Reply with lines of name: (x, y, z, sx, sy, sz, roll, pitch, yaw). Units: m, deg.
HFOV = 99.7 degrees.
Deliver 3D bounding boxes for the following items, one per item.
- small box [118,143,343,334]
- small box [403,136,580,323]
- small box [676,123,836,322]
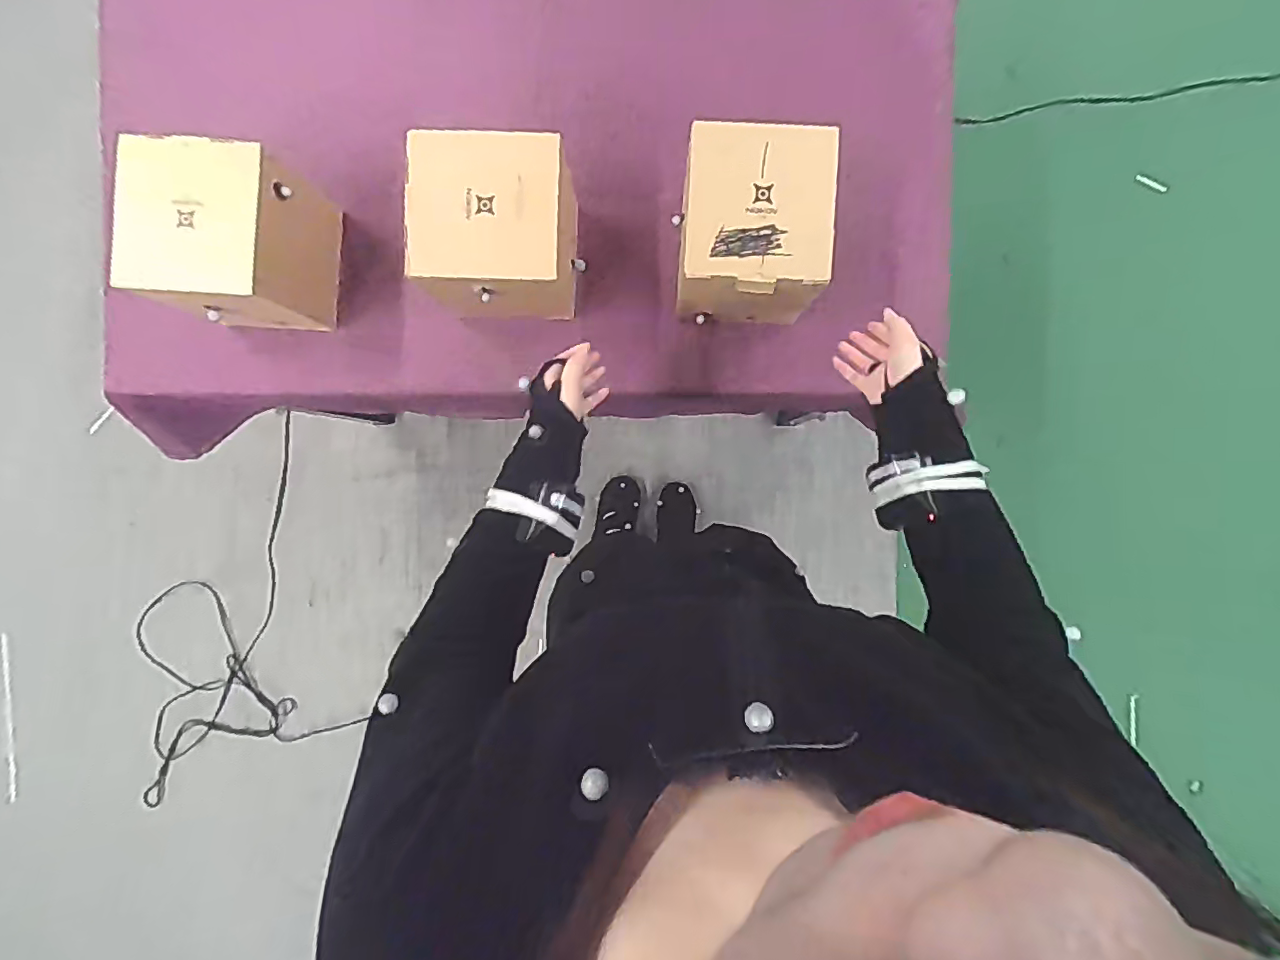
small box: (-0.512, -0.297, 0.700, 0.168, 0.176, 0.179, 4, 90, 1)
small box: (-0.178, -0.306, 0.692, 0.179, 0.176, 0.168, 2, 91, 1)
small box: (0.134, -0.308, 0.682, 0.168, 0.176, 0.179, 3, 90, 1)
